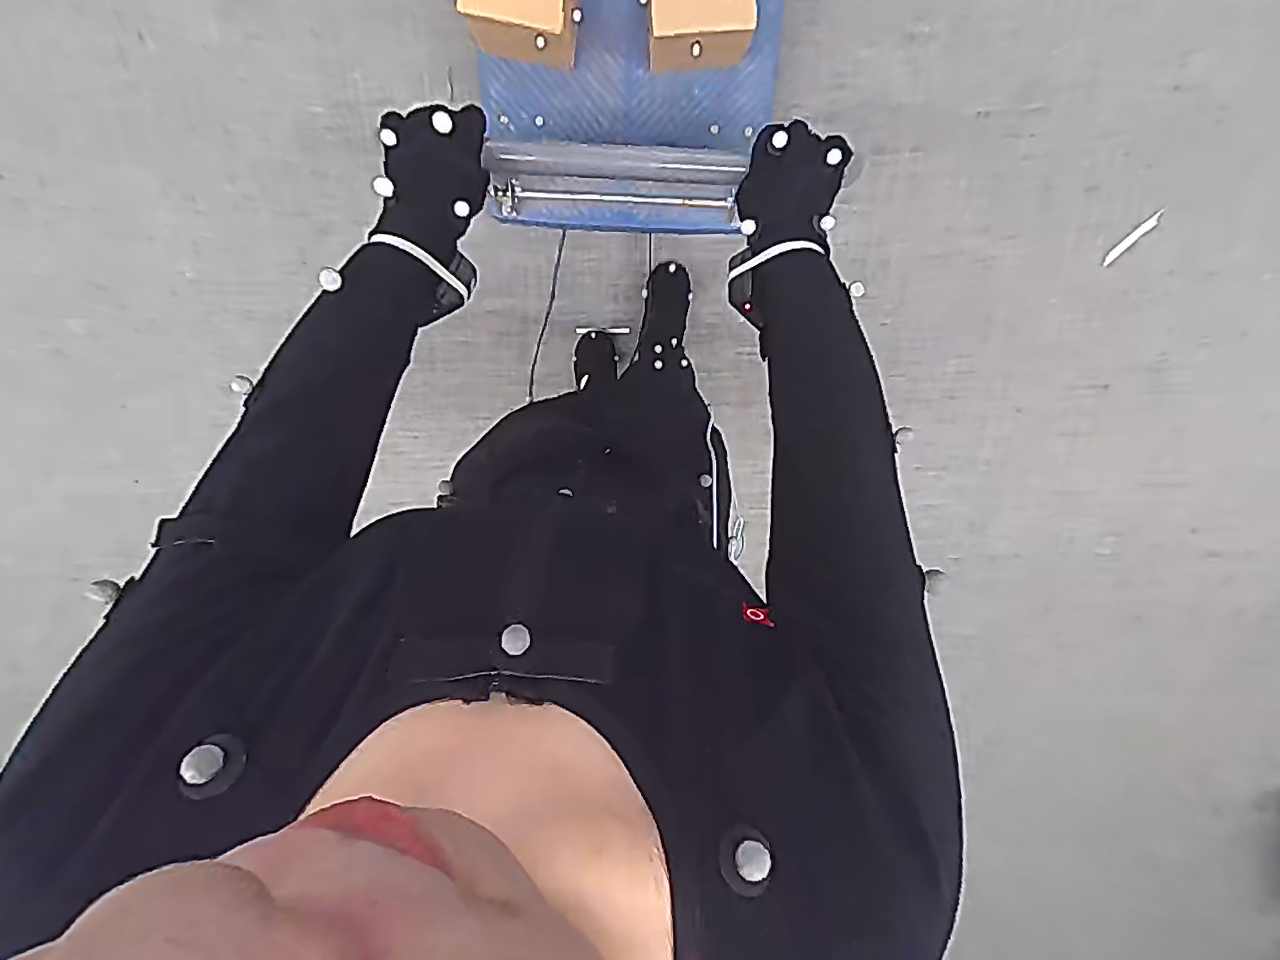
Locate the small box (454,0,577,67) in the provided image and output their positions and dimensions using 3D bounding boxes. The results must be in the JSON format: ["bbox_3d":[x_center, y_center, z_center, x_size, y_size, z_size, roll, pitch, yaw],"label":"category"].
[{"bbox_3d":[-0.206,-0.852,0.934,0.179,0.176,0.168,7,109,-4],"label":"small box"}]

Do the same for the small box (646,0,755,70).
[{"bbox_3d":[0.098,-0.843,0.940,0.179,0.176,0.168,-4,110,1],"label":"small box"}]
